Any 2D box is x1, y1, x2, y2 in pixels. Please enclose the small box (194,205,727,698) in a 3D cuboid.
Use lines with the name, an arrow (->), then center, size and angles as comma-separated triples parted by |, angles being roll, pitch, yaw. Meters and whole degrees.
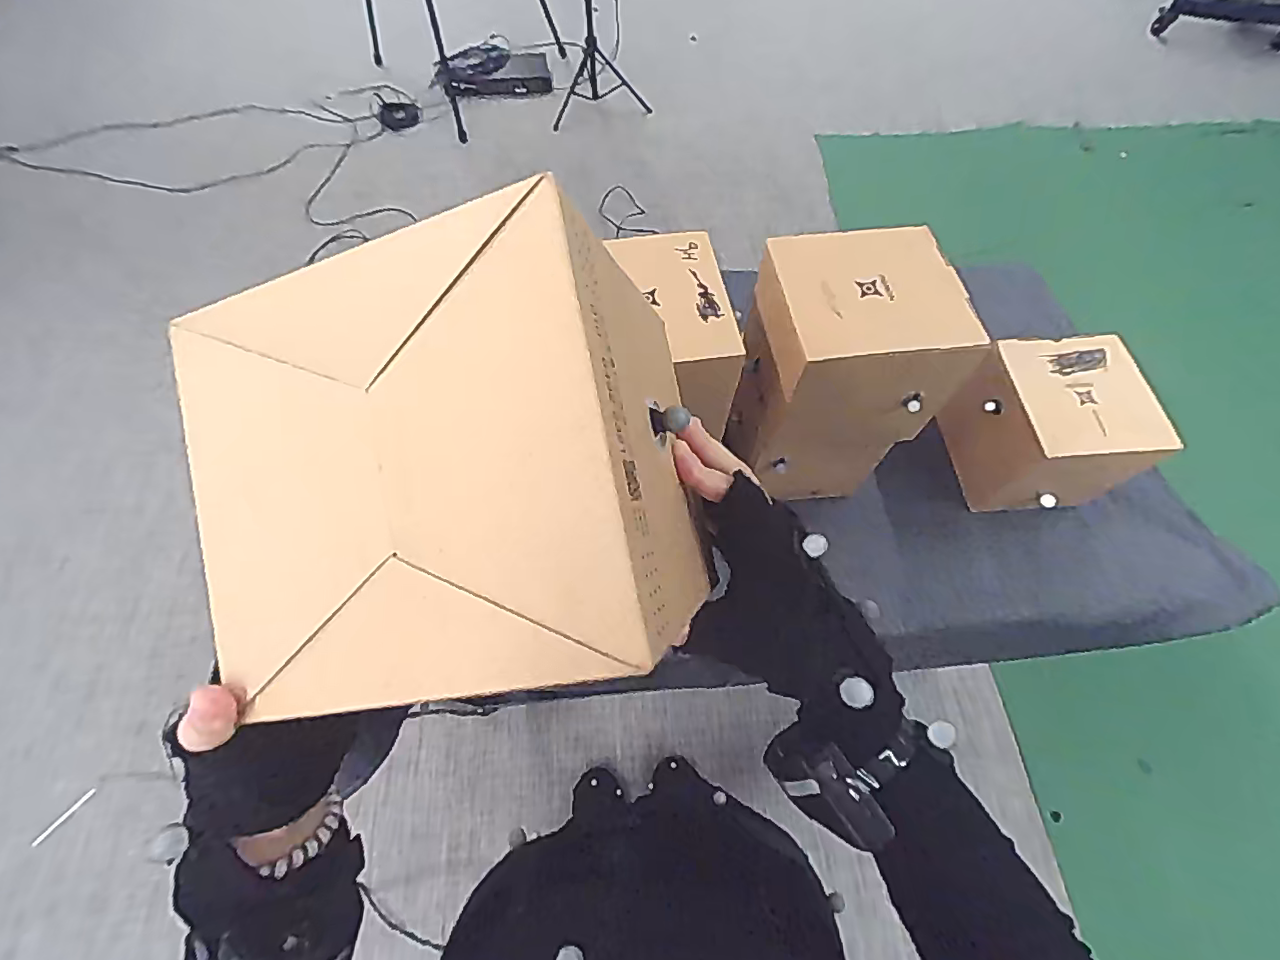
small box -> -0.067, -0.006, 0.274 | 0.179, 0.176, 0.168 | -13, 86, 15

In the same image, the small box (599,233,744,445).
small box -> 0.001, -0.137, 0.595 | 0.179, 0.176, 0.168 | -9, 65, -3
